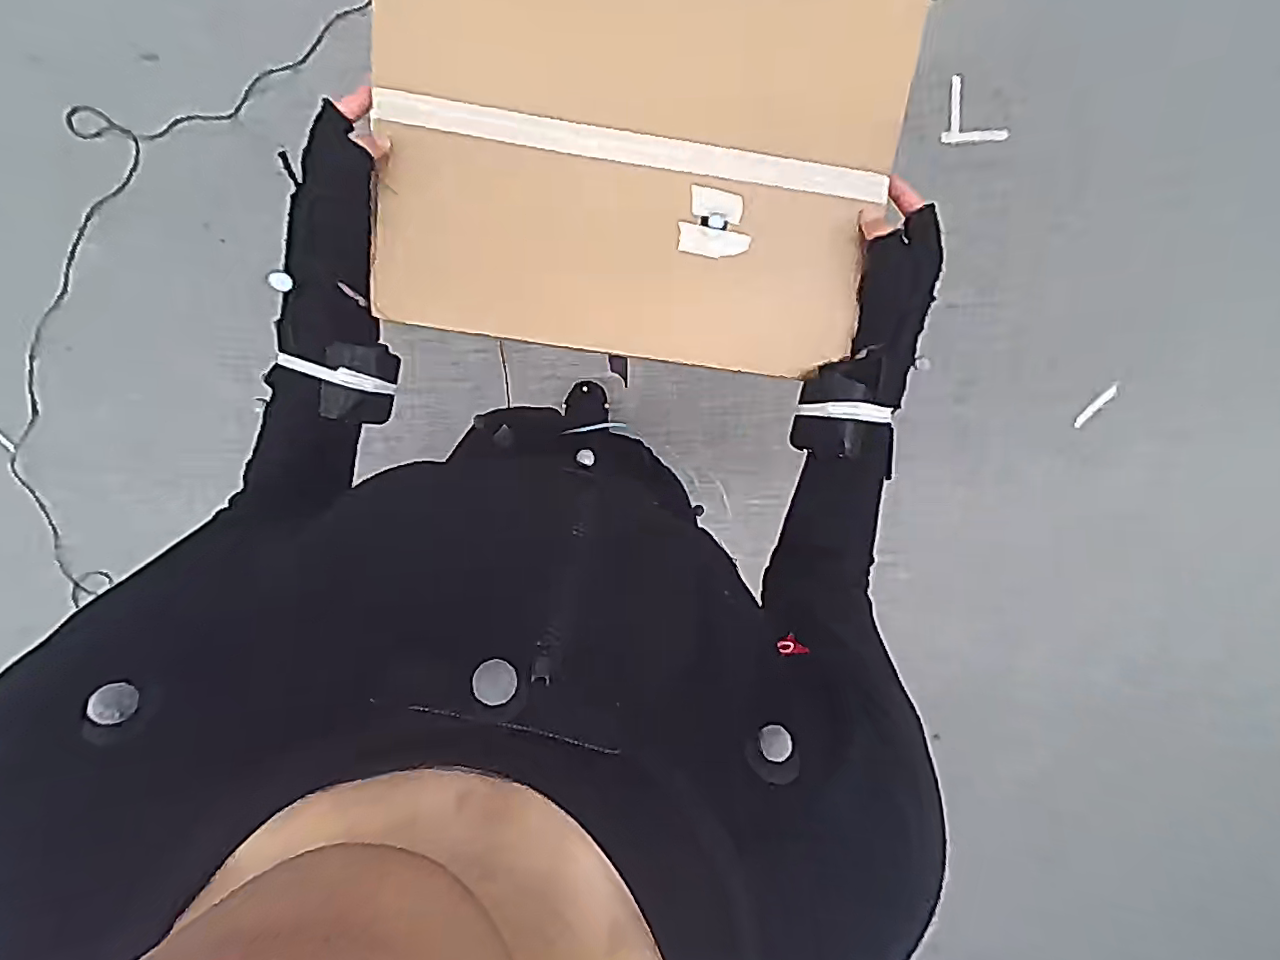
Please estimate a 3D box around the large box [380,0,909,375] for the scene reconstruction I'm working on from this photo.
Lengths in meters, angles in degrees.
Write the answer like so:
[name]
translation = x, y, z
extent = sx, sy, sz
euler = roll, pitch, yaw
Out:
[large box]
translation = -0.015, -0.297, 0.577
extent = 0.408, 0.320, 0.320
euler = 6, 105, -6
